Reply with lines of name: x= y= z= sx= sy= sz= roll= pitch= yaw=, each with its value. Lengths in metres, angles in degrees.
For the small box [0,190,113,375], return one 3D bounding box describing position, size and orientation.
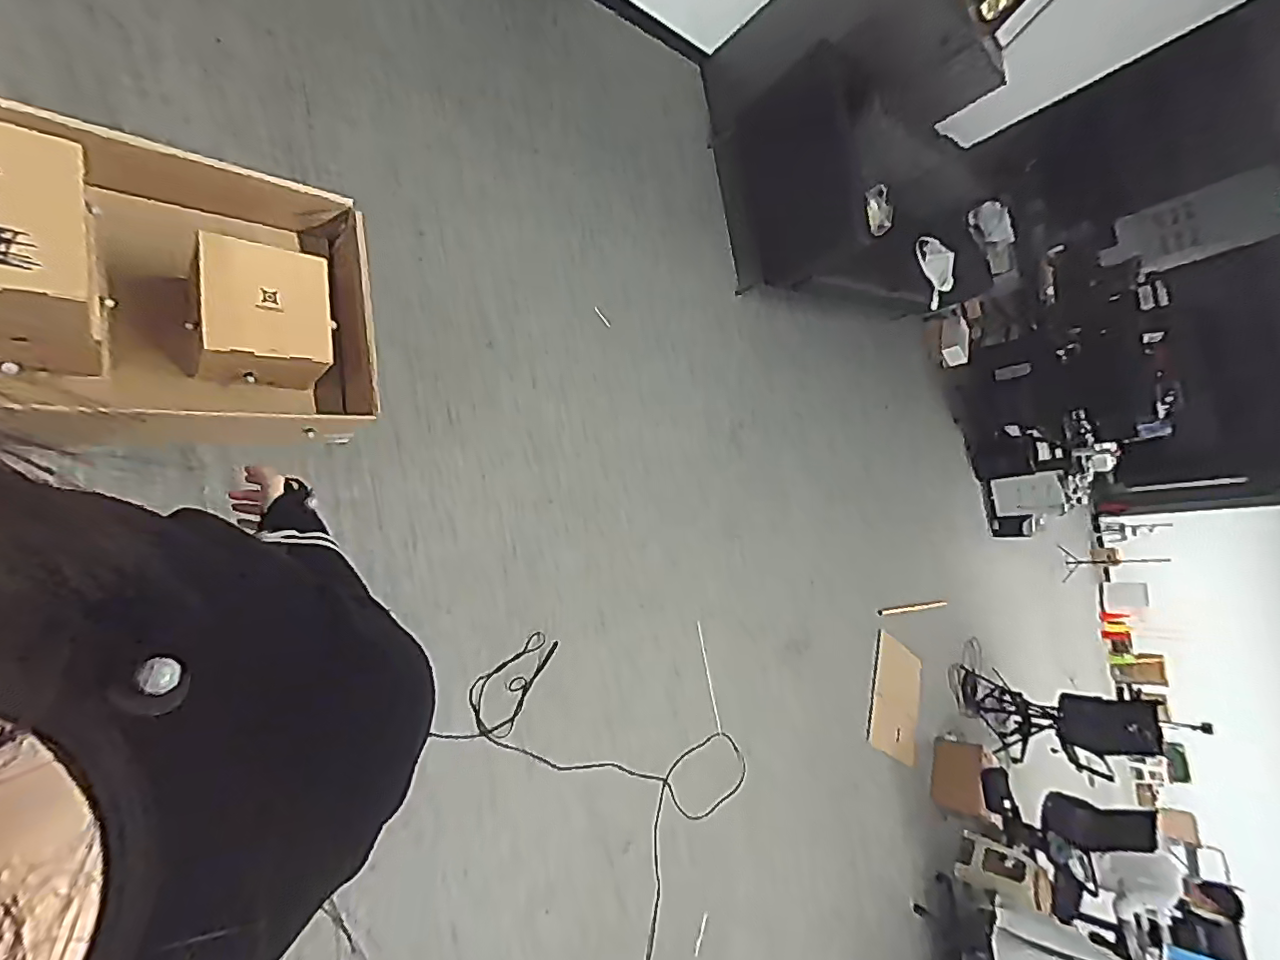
small box: x=-0.797 y=-0.247 z=0.692 sx=0.168 sy=0.176 sz=0.179 roll=-5 pitch=87 yaw=-43
